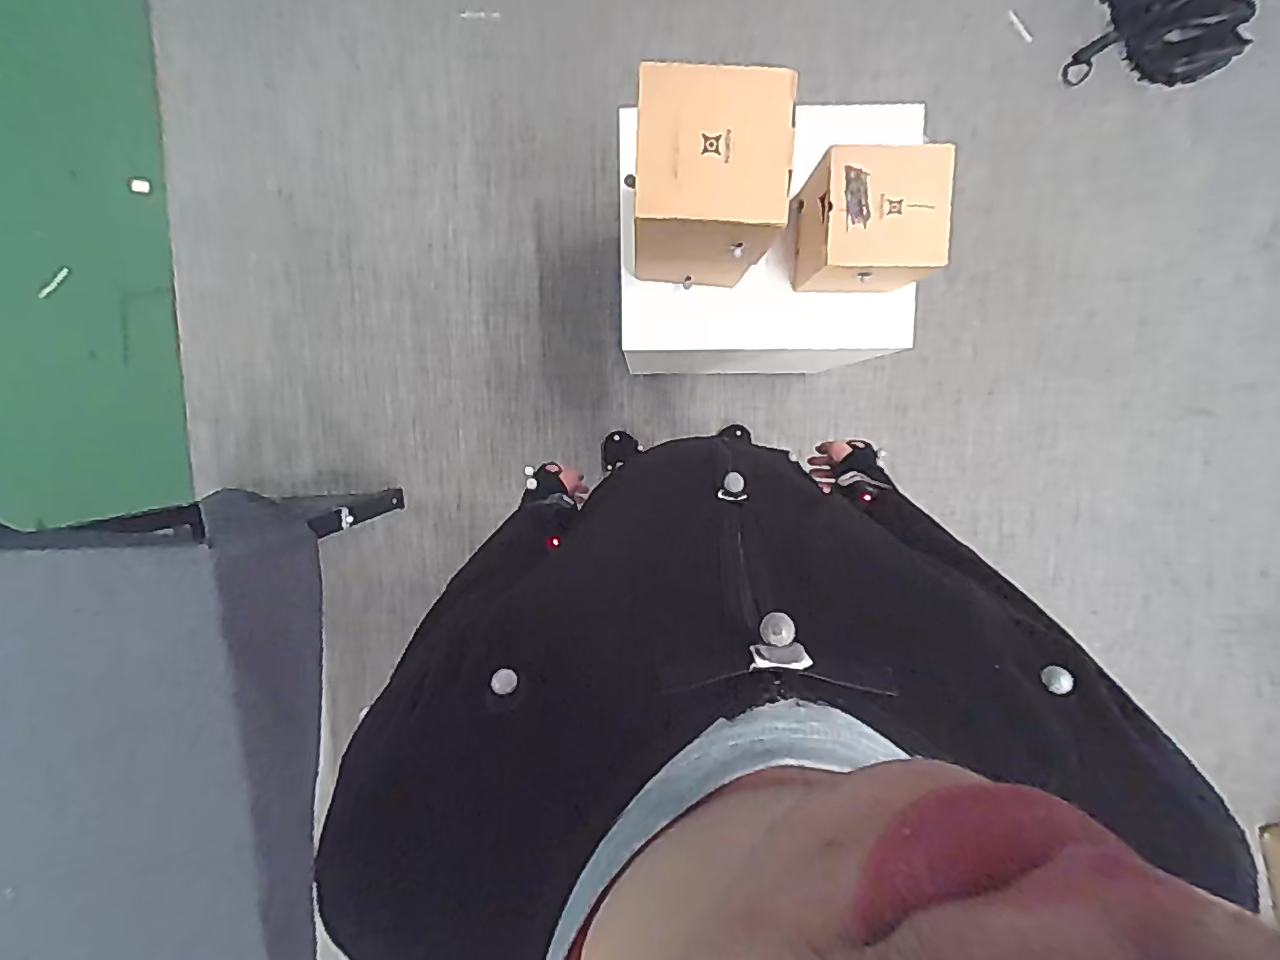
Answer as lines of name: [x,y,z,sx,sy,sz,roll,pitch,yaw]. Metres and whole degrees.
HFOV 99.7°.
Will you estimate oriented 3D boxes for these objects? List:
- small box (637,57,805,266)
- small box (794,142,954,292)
small box: [0.086,-0.371,0.660,0.179,0.176,0.168,0,95,-1]
small box: [0.345,-0.391,0.830,0.179,0.176,0.168,-2,96,-3]
